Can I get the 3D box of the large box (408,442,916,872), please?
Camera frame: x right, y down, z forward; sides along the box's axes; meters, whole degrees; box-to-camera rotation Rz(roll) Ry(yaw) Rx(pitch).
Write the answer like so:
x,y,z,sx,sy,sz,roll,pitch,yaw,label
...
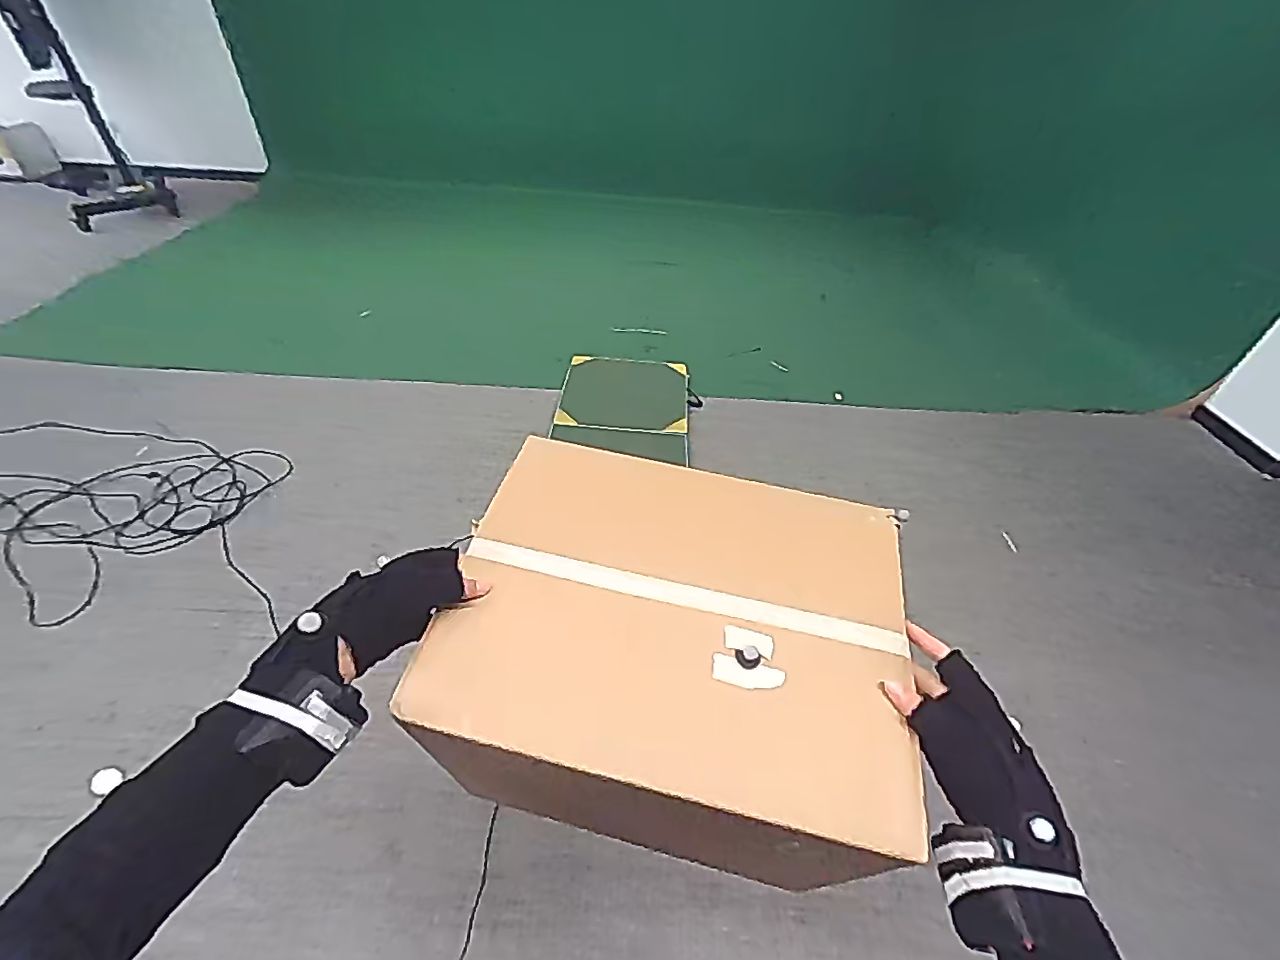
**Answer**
x,y,z,sx,sy,sz,roll,pitch,yaw,label
0.027,0.200,0.616,0.408,0.320,0.320,12,50,5,large box
